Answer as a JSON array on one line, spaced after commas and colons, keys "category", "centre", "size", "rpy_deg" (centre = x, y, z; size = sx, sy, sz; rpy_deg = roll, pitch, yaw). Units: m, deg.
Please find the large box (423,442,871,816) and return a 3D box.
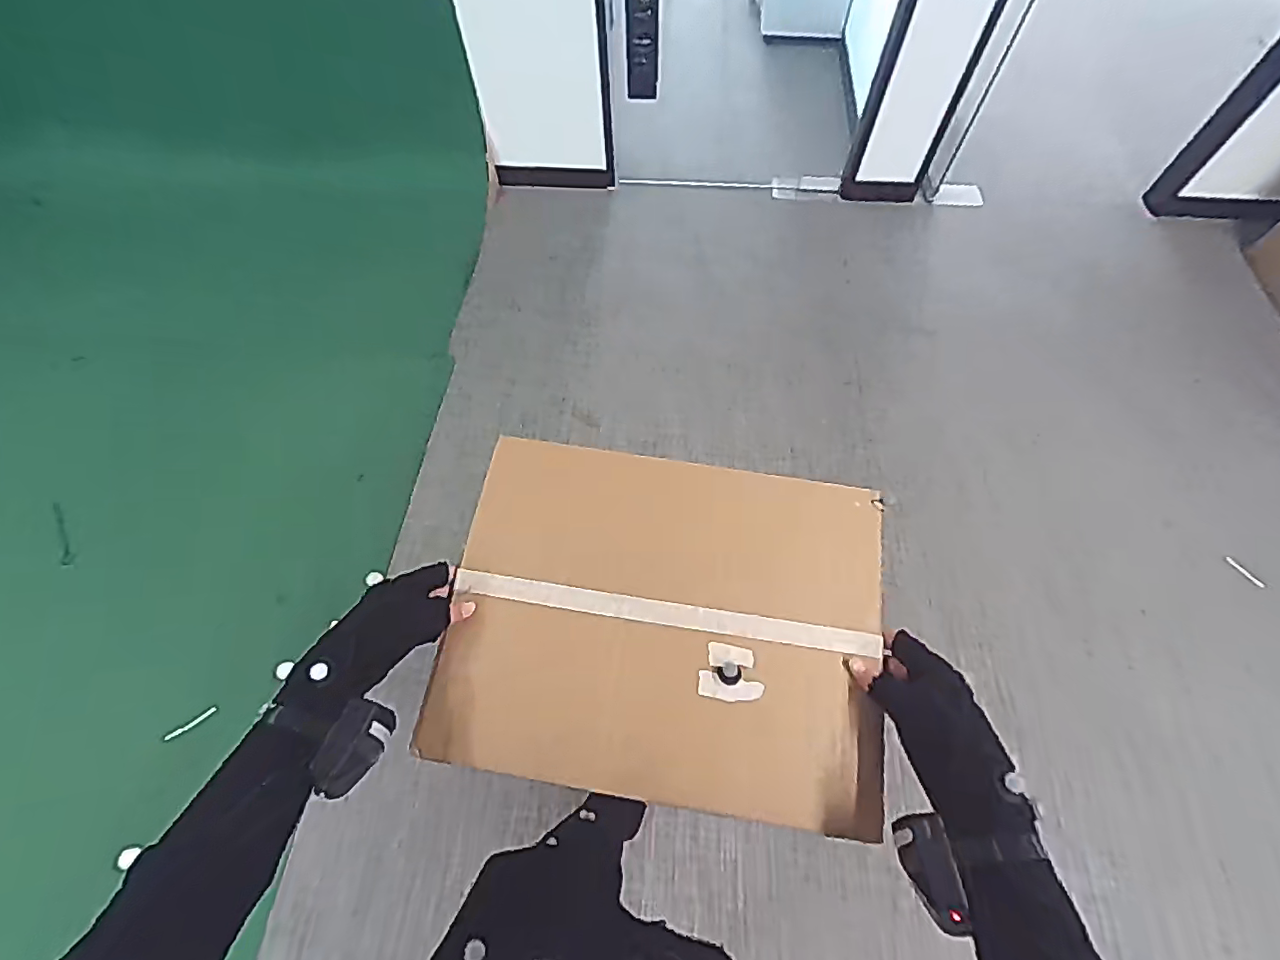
[{"category": "large box", "centre": [0.019, 0.180, 0.662], "size": [0.408, 0.320, 0.320], "rpy_deg": [9, 68, 3]}]
